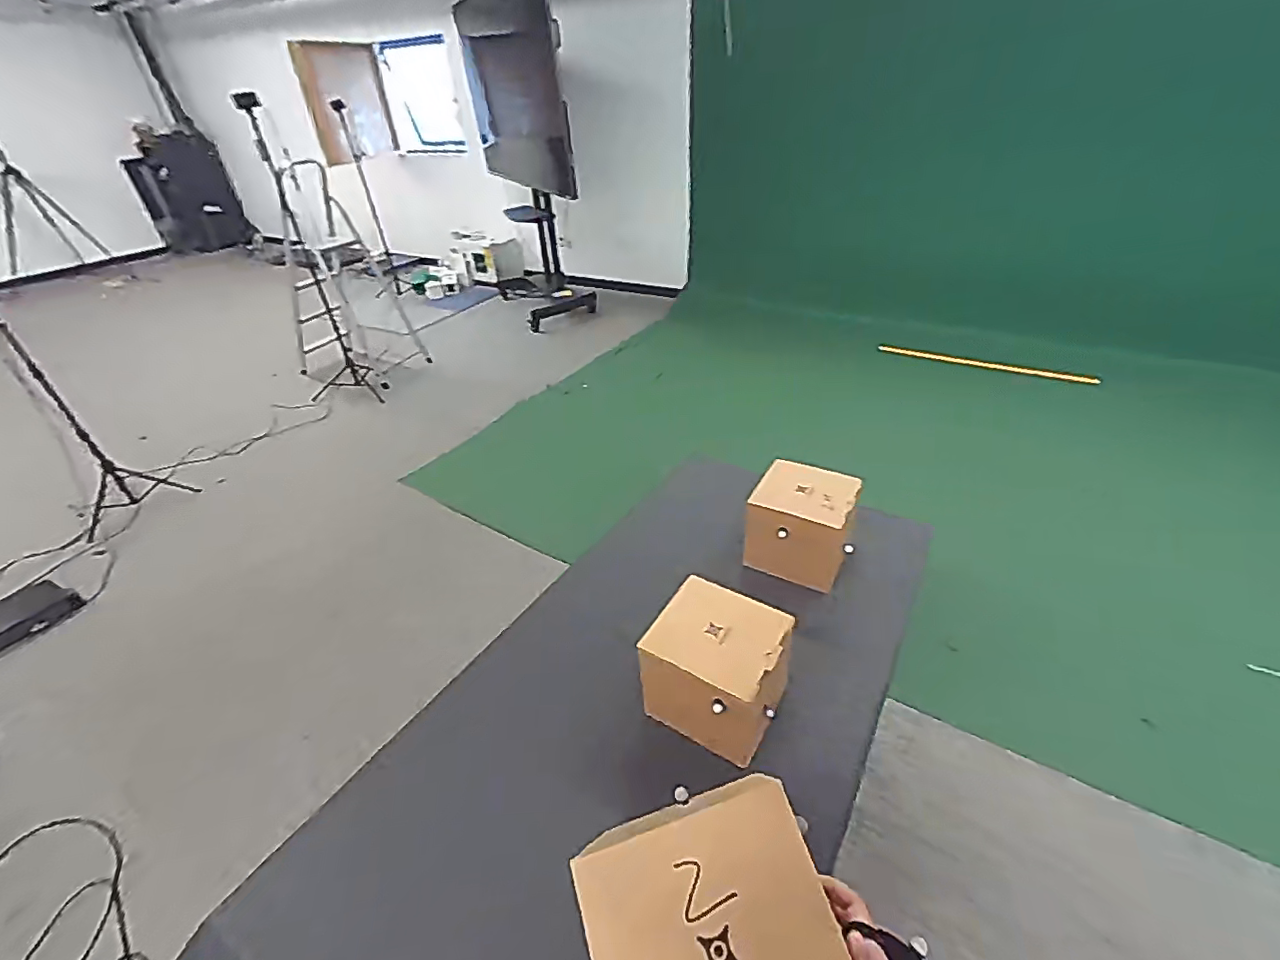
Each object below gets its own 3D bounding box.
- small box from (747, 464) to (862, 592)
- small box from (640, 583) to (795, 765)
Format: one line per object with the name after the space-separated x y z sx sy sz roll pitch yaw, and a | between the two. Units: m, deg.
0.322 0.094 1.077 0.179 0.176 0.168 16 42 28 | small box
0.120 0.295 0.829 0.179 0.176 0.168 17 41 29 | small box
